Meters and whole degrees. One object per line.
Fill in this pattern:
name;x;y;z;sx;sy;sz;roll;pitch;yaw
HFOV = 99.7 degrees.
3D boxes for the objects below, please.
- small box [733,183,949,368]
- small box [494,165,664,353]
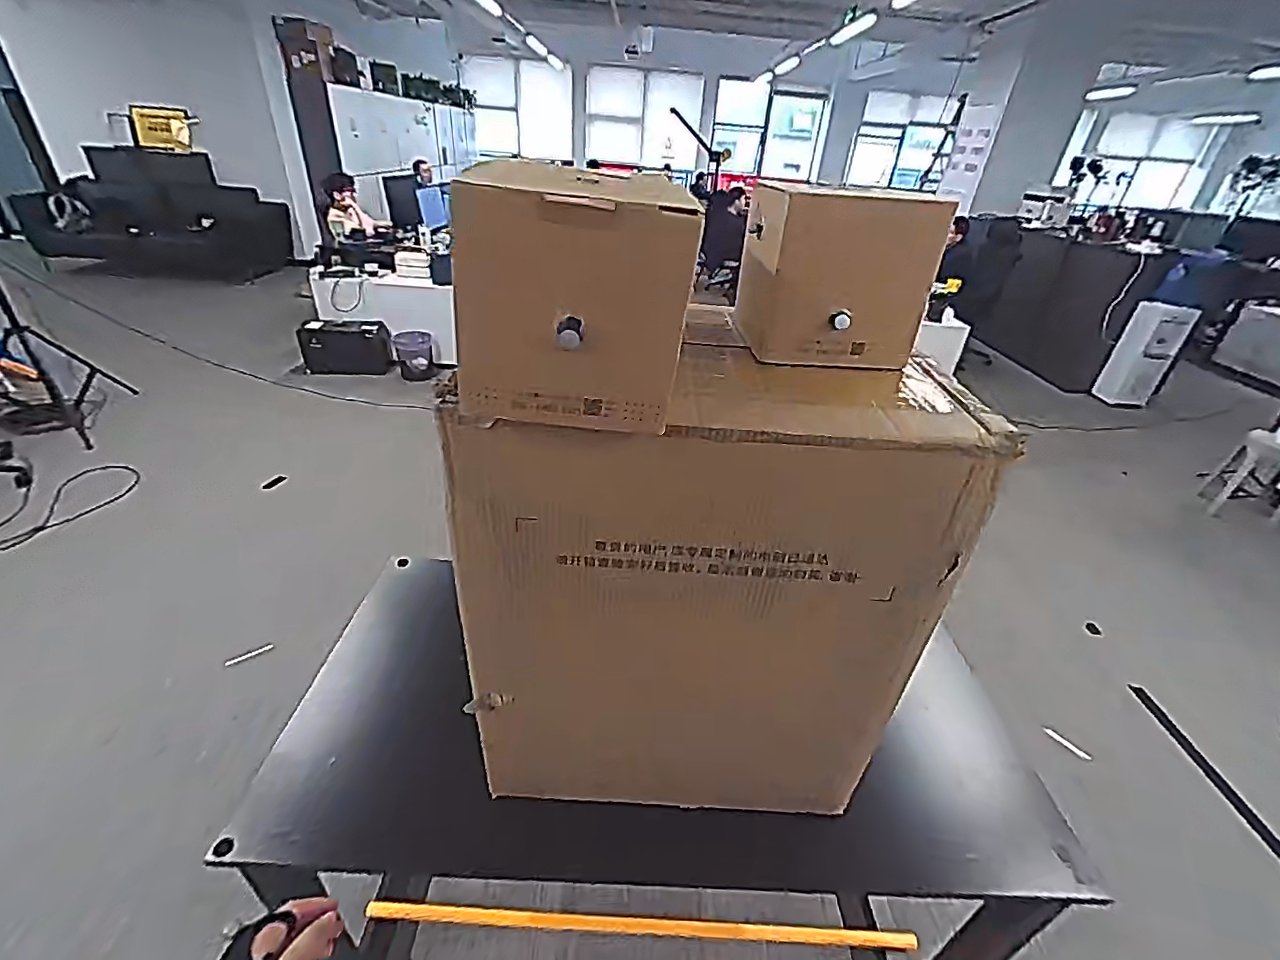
small box;0.208;-0.239;0.623;0.168;0.176;0.179;1;31;-2
small box;-0.065;-0.258;0.625;0.168;0.176;0.179;3;32;-3
